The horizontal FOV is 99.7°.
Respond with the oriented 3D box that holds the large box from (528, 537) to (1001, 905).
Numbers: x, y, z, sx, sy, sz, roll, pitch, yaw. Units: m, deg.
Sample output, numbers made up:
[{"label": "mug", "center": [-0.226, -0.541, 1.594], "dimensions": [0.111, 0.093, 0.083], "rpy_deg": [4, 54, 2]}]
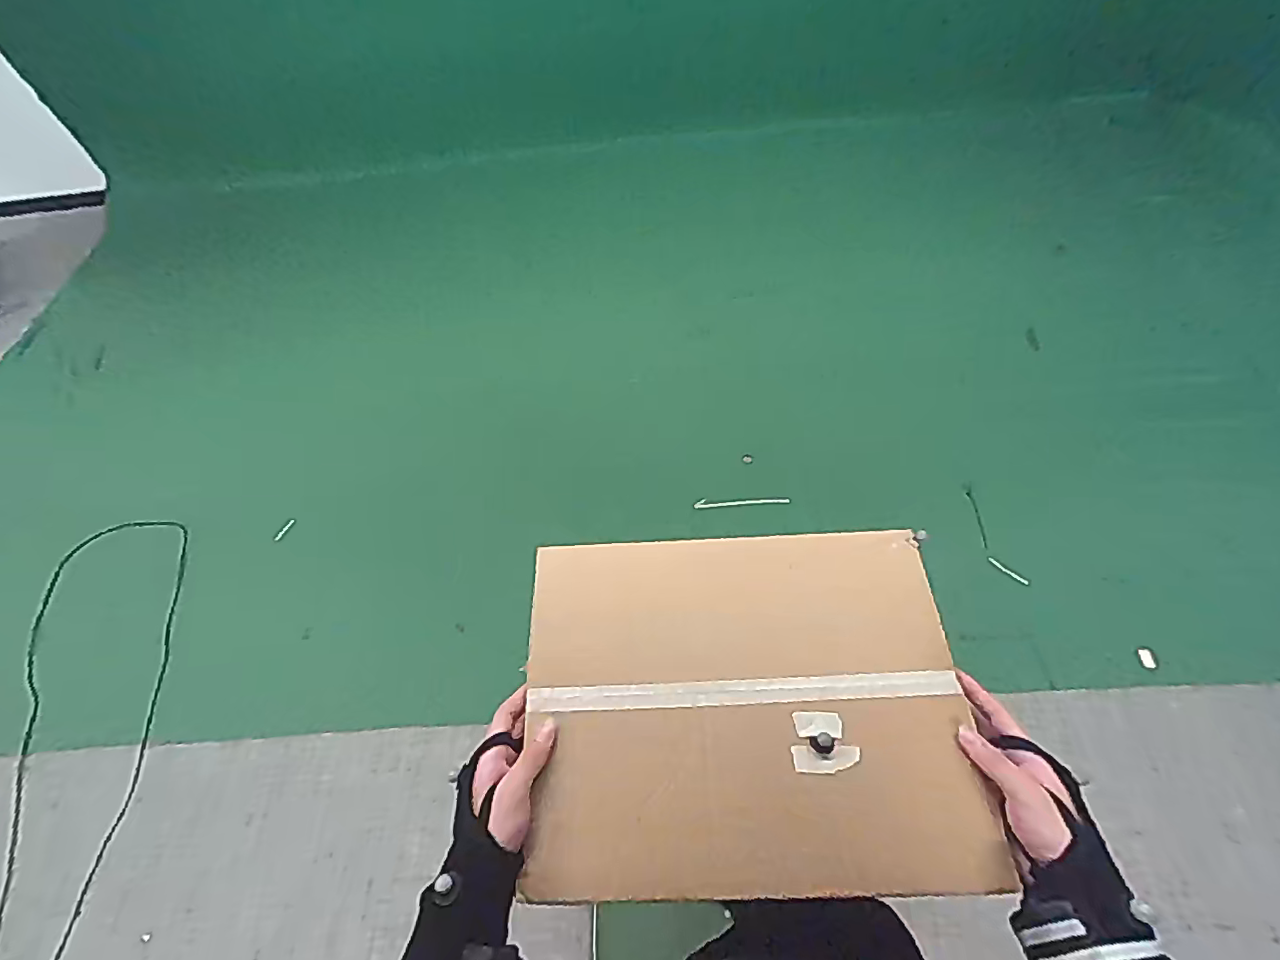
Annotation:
[{"label": "large box", "center": [0.101, 0.282, 0.650], "dimensions": [0.408, 0.320, 0.320], "rpy_deg": [-3, 61, 2]}]
